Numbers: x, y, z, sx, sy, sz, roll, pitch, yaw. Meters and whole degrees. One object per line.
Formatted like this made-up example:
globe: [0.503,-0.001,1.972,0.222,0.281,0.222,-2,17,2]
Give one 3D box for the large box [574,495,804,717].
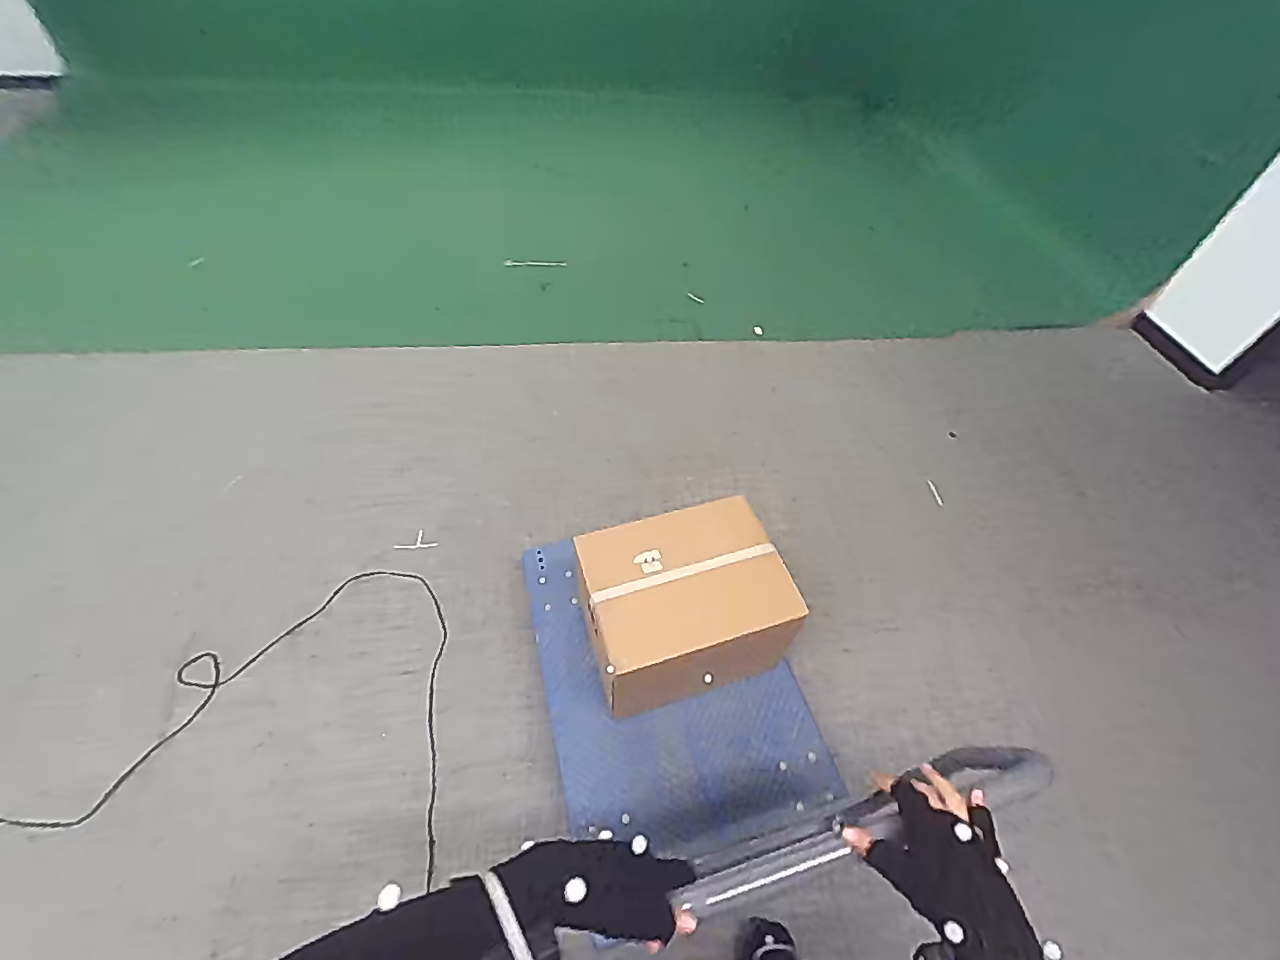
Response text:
large box: [0.091,0.287,1.226,0.408,0.320,0.320,-14,52,-12]
